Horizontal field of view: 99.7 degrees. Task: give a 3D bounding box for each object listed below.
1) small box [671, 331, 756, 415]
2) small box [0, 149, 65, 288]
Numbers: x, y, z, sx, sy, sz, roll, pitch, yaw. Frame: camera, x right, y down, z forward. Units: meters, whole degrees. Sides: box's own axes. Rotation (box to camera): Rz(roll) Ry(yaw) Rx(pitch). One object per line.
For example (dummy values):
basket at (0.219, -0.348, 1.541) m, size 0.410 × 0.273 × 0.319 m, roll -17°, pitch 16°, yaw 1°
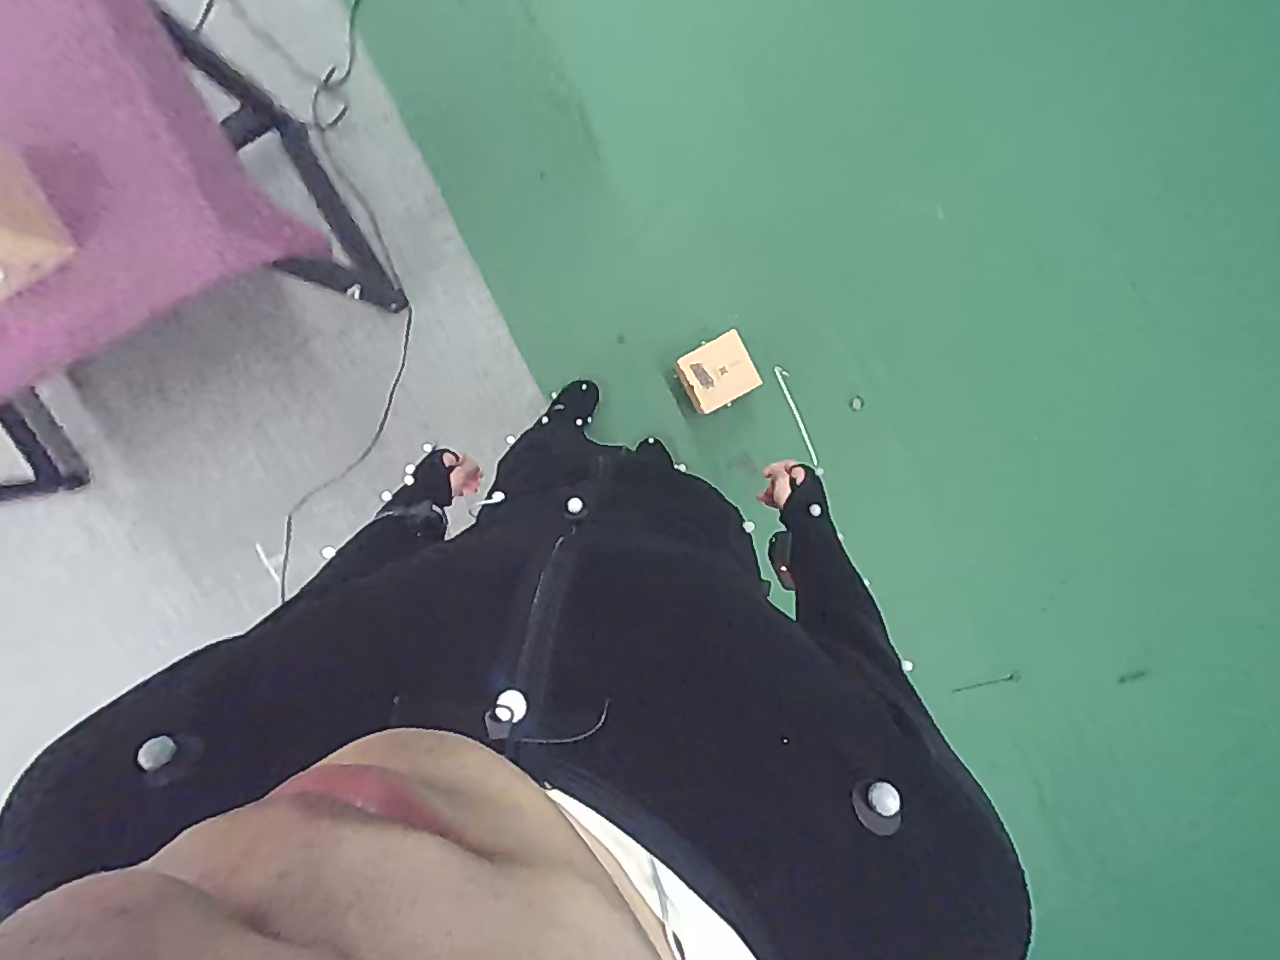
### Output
small box at (0.195, -0.291, 1.507) m, size 0.179 × 0.176 × 0.168 m, roll -28°, pitch 97°, yaw 2°
small box at (-0.989, -0.387, 0.749) m, size 0.168 × 0.176 × 0.179 m, roll -27°, pitch 96°, yaw 4°
